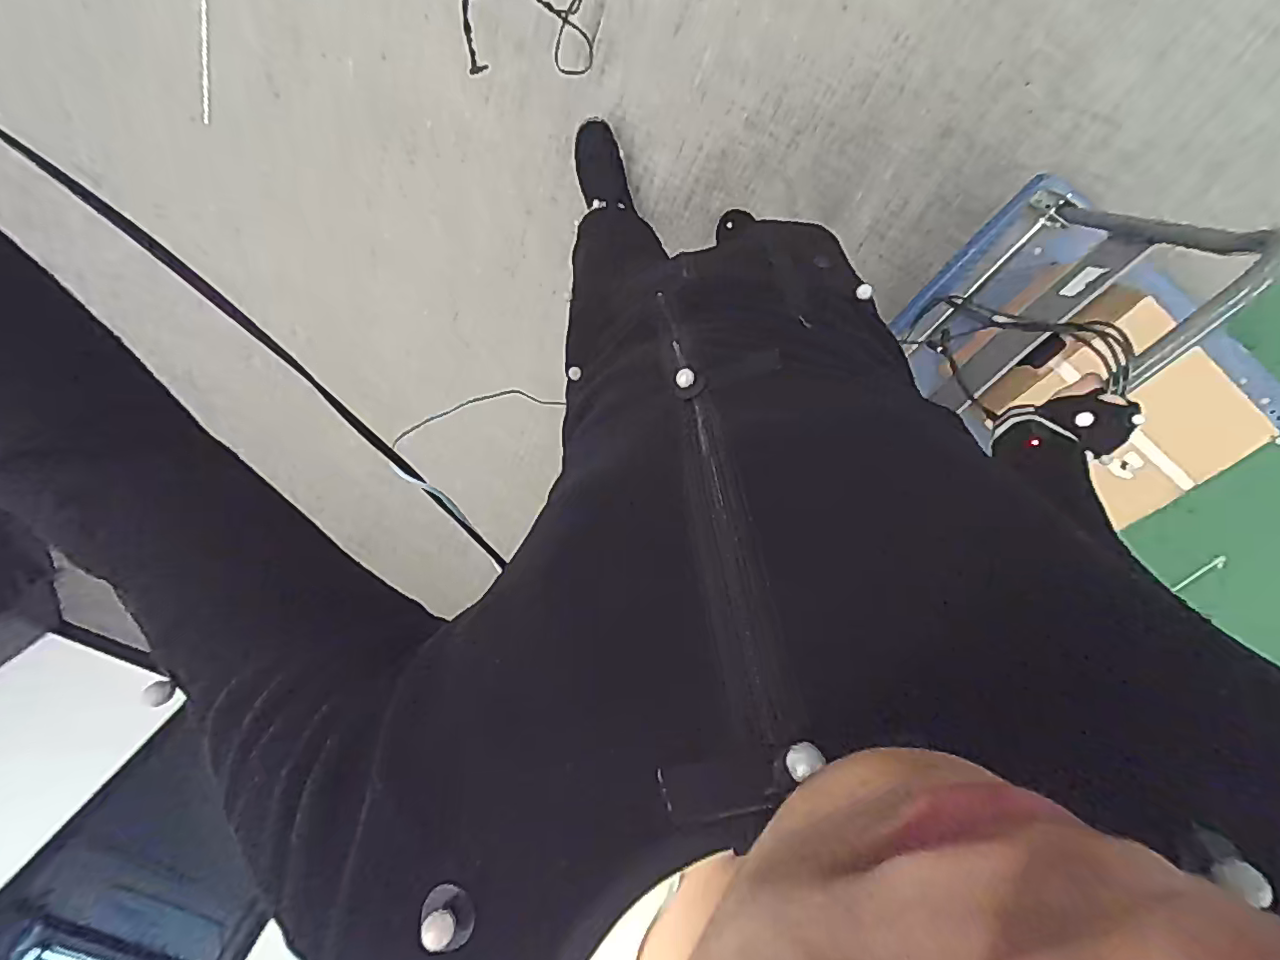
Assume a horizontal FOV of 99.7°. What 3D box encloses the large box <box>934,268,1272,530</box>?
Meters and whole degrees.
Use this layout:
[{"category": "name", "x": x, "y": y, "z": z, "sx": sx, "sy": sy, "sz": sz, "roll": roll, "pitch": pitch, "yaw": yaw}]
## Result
[{"category": "large box", "x": 0.925, "y": -0.176, "z": 1.142, "sx": 0.408, "sy": 0.320, "sz": 0.320, "roll": 35, "pitch": 121, "yaw": -12}]
